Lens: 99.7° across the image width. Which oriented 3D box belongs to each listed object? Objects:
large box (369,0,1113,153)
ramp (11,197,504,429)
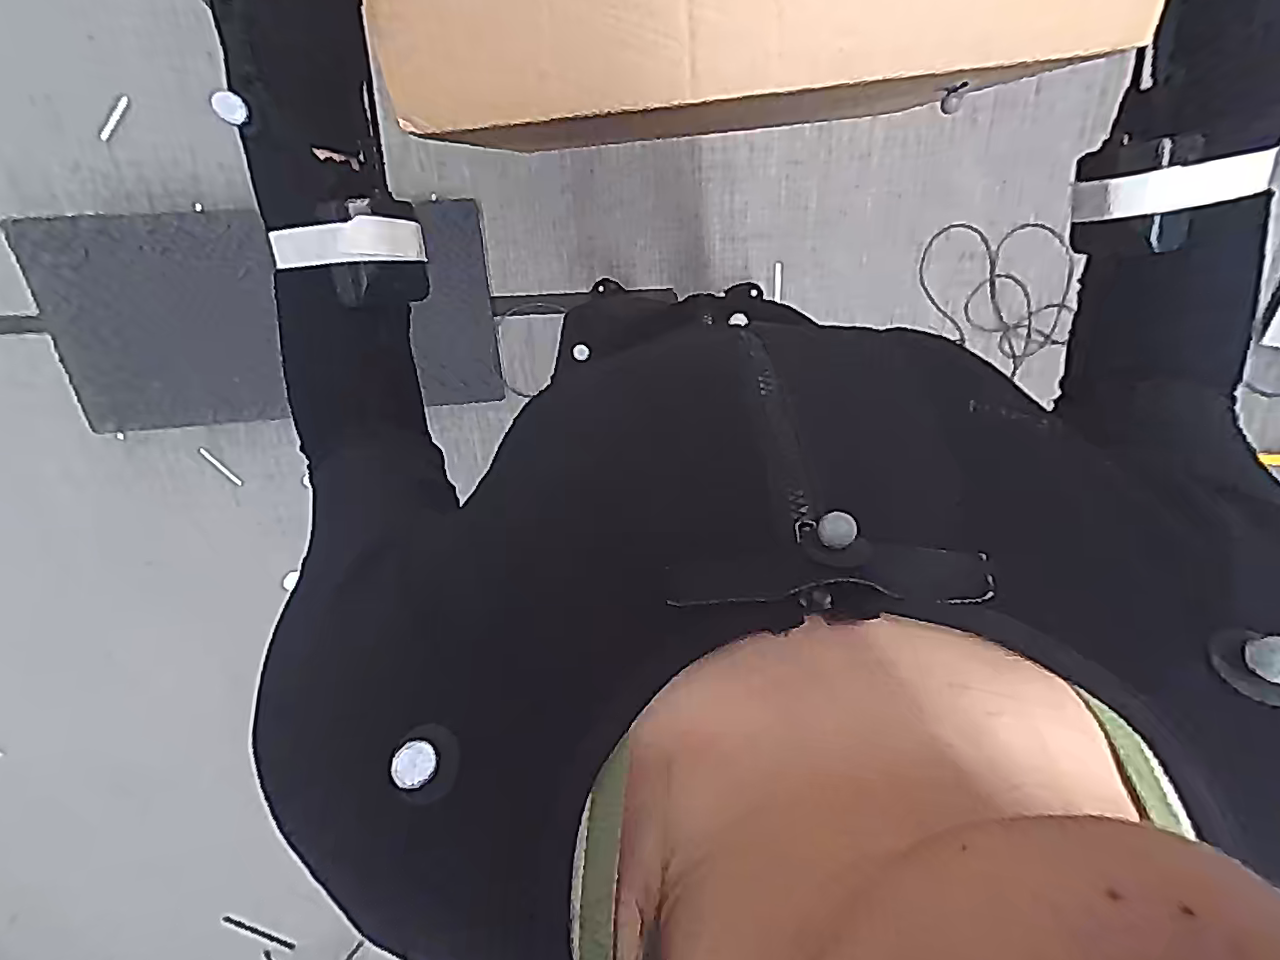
[{"bbox_3d":[0.044,-0.425,0.364,0.408,0.320,0.320,-5,119,4],"label":"large box"},{"bbox_3d":[-0.874,-0.408,1.332,0.991,0.206,0.509,-4,111,3],"label":"ramp"}]
